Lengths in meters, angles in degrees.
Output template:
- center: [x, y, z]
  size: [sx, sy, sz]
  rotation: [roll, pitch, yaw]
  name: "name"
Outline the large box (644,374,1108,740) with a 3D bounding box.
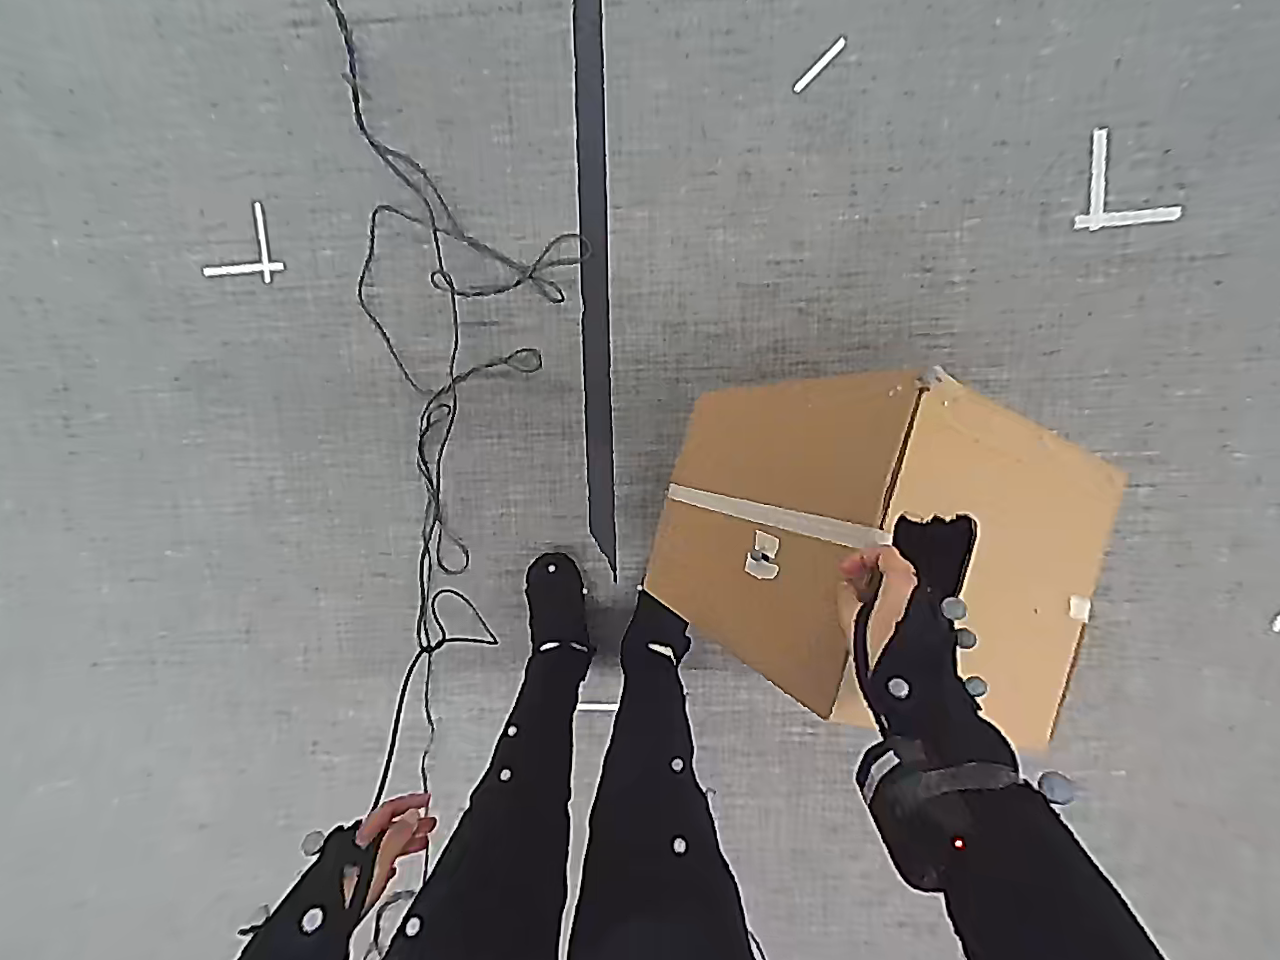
- center: [0.259, 0.080, 0.696]
  size: [0.320, 0.408, 0.320]
  rotation: [16, 88, -26]
  name: "large box"
